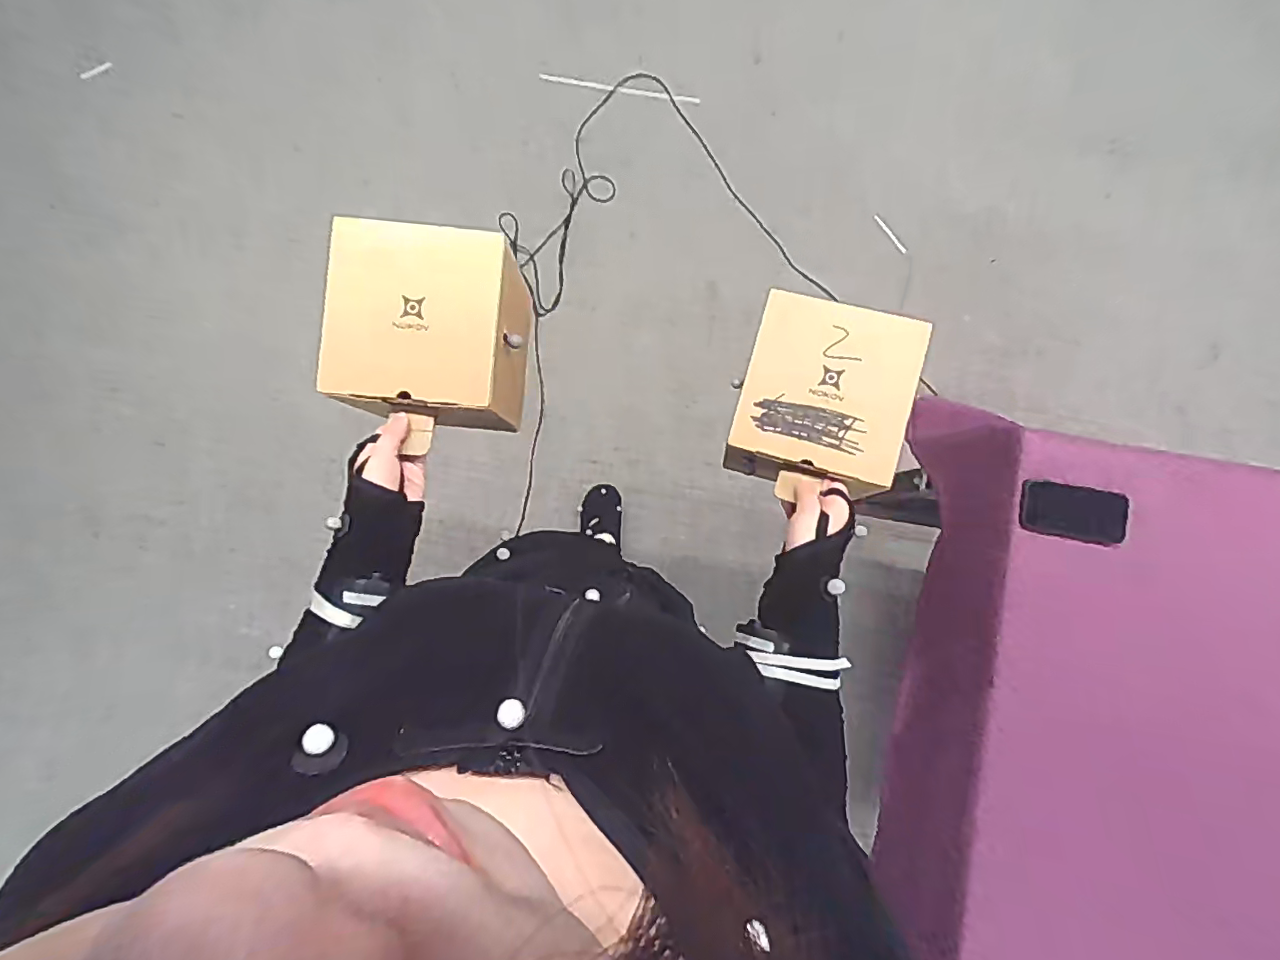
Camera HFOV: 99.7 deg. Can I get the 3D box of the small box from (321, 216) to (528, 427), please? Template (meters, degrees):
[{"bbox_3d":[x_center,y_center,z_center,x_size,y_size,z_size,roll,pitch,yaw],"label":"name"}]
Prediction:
[{"bbox_3d":[-0.224,-0.163,0.609,0.168,0.176,0.179,5,89,-3],"label":"small box"}]
